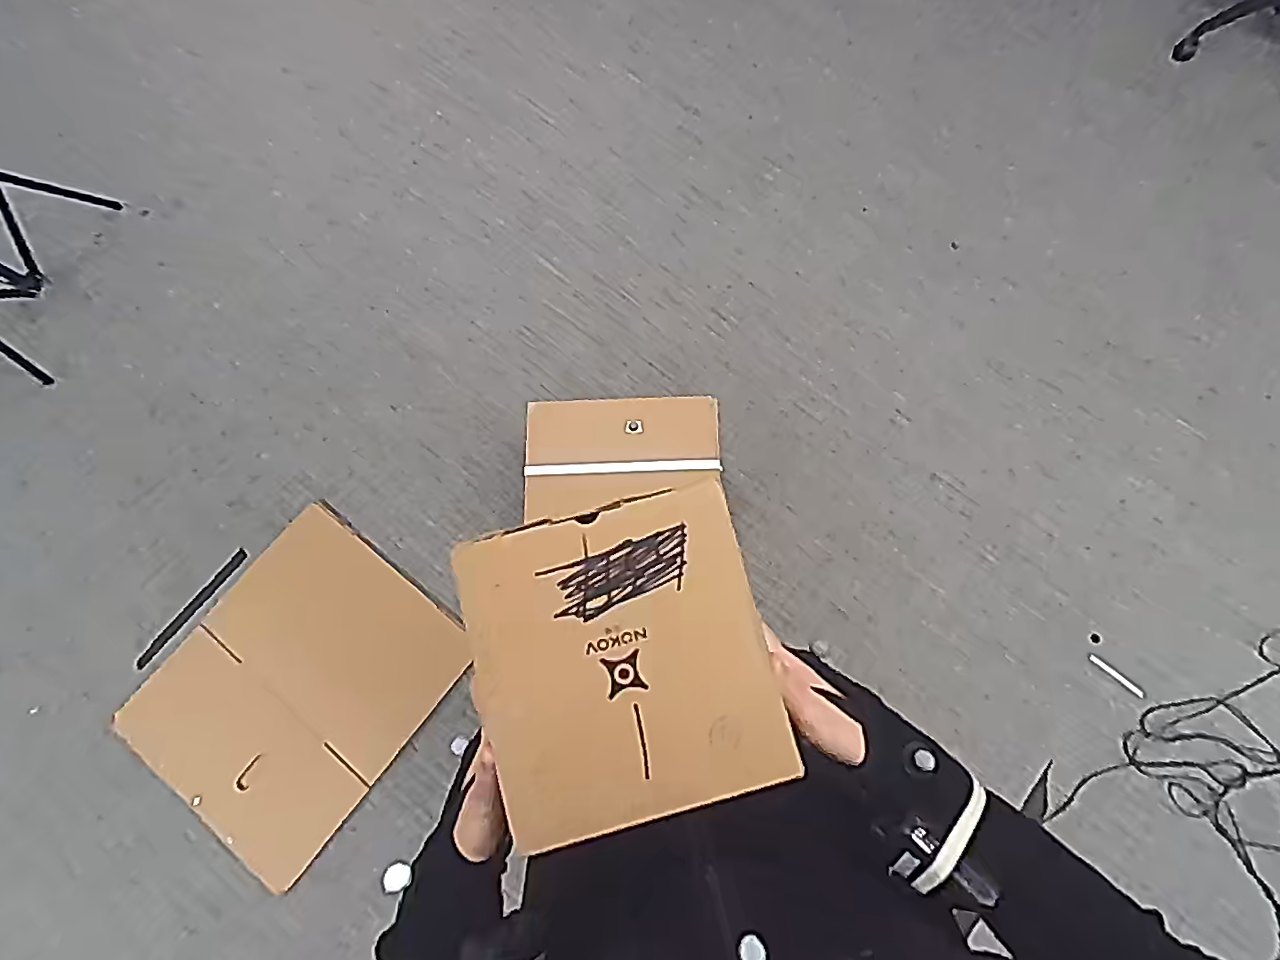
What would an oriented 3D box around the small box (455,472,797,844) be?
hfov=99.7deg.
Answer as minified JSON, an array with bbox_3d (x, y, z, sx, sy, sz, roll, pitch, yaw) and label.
[{"bbox_3d":[-0.012,0.109,0.389,0.168,0.176,0.179,-15,82,-2],"label":"small box"}]
